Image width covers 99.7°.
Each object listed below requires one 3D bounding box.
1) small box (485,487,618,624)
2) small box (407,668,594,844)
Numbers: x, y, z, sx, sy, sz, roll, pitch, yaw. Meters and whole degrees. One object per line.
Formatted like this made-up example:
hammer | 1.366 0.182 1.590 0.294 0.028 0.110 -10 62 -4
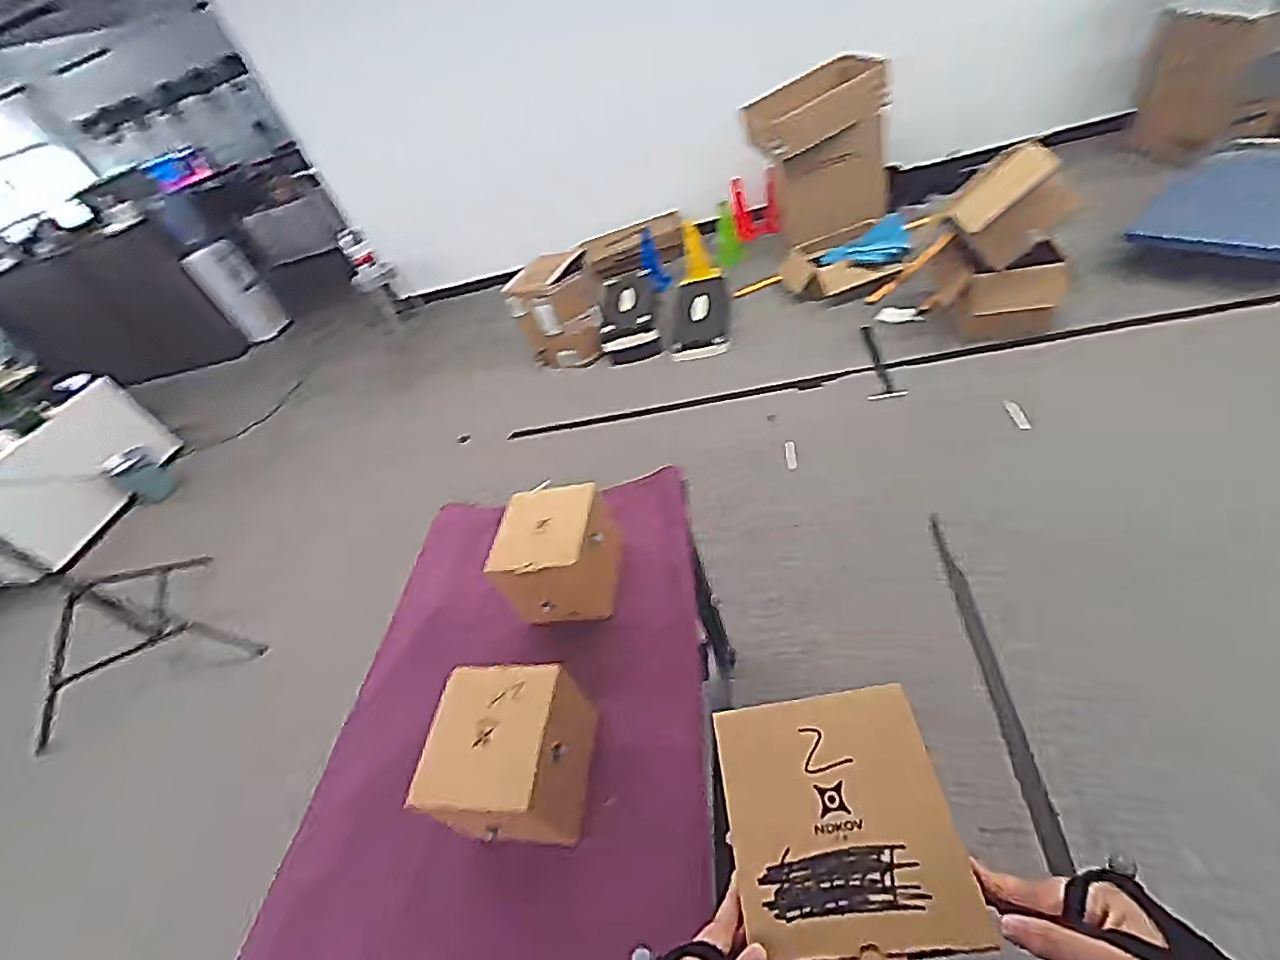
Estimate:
small box | -0.146 0.138 0.972 0.168 0.176 0.179 -7 45 17
small box | -0.174 0.378 0.739 0.168 0.176 0.179 -7 44 15
